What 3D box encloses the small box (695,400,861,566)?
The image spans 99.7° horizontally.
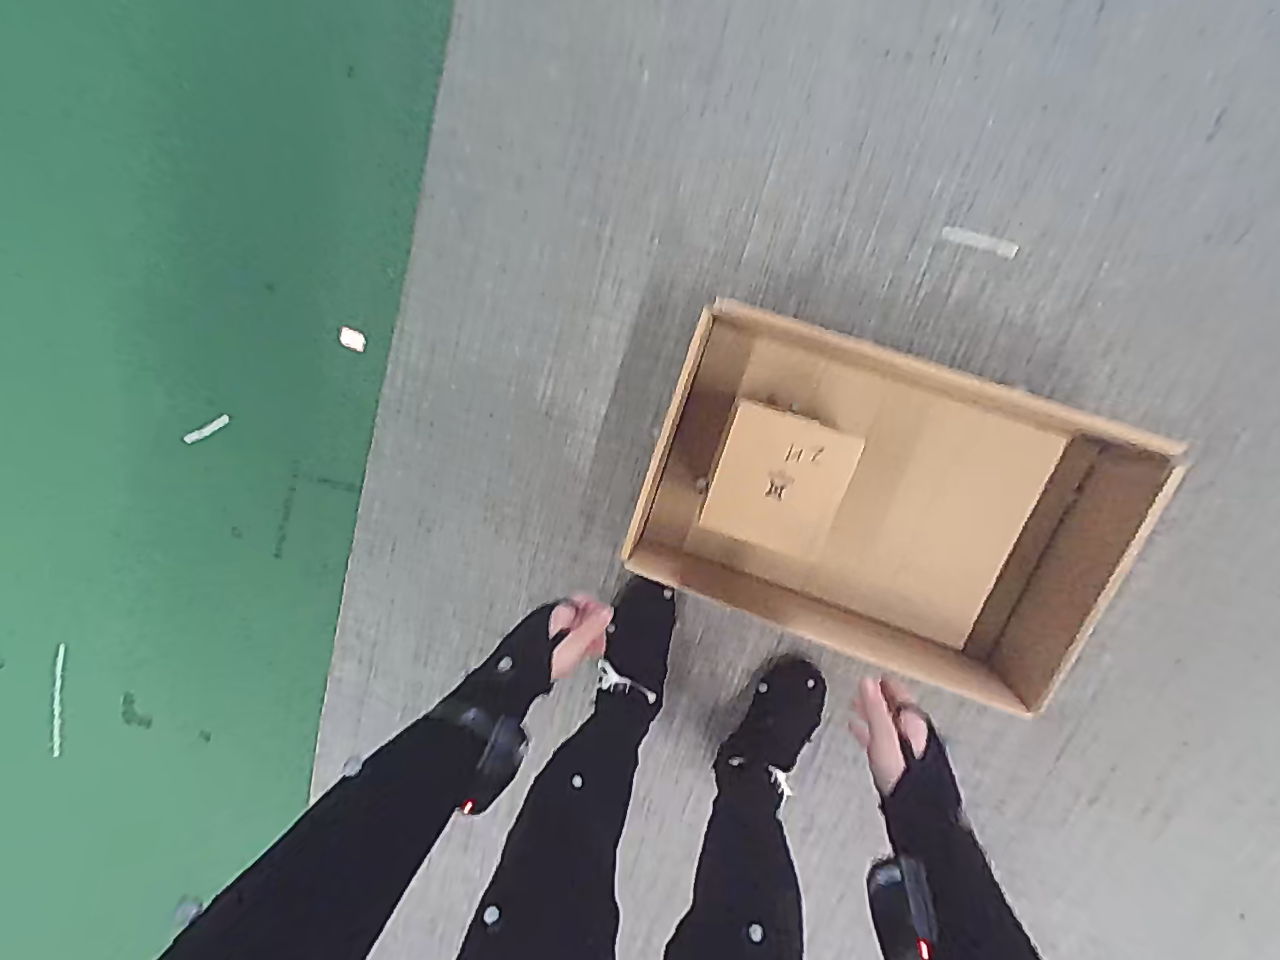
[{"bbox_3d":[0.188,-0.007,0.778,0.168,0.176,0.179,19,102,4],"label":"small box"}]
